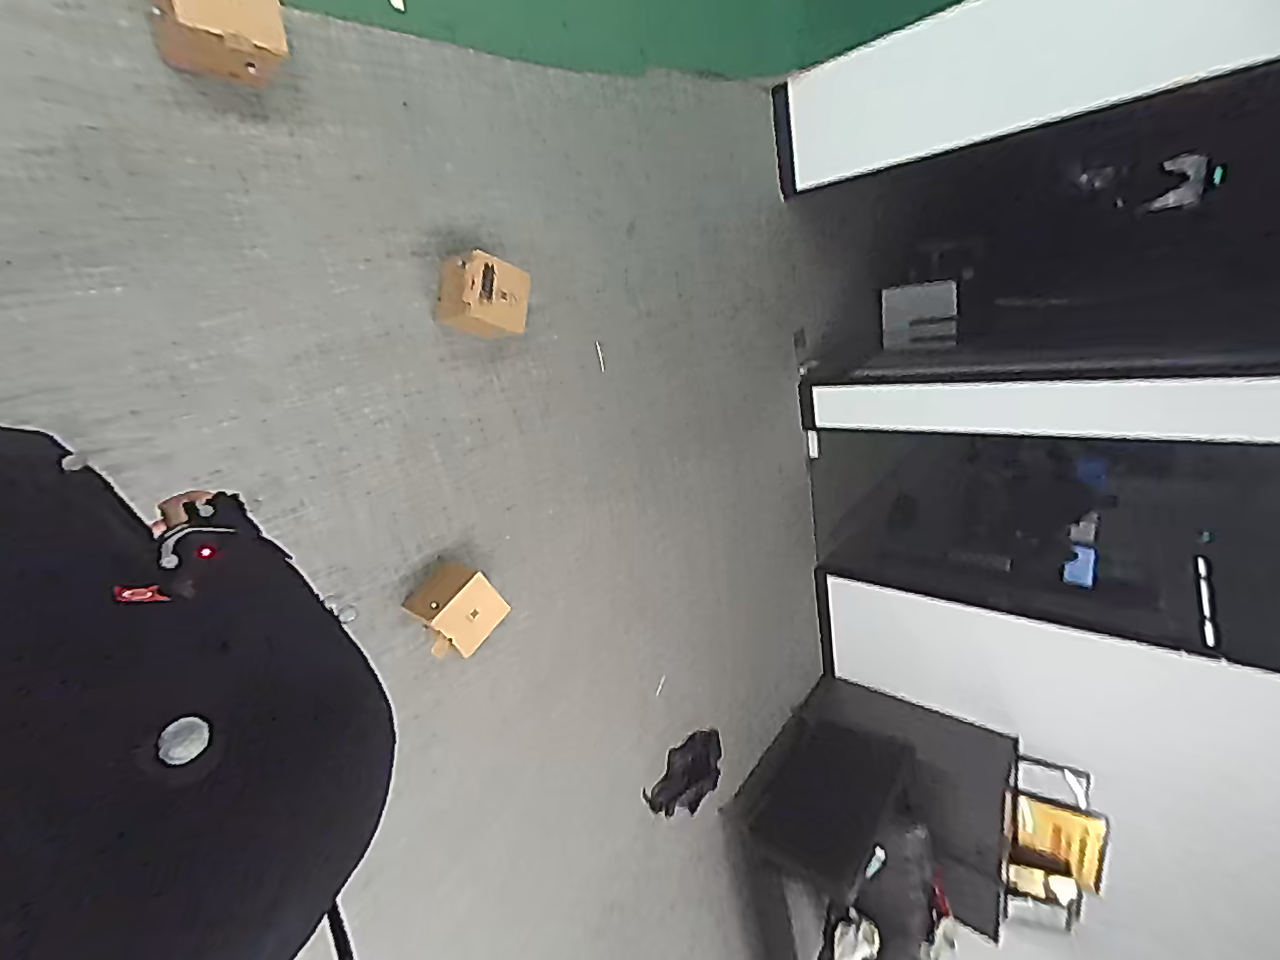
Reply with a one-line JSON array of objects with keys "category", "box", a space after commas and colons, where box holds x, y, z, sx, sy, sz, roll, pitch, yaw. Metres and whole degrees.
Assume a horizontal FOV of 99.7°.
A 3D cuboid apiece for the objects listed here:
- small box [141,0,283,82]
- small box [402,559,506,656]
[{"category": "small box", "box": [-0.786, -0.867, 0.983, 0.168, 0.176, 0.179, -21, 111, -47]}, {"category": "small box", "box": [-0.511, 0.342, 1.485, 0.179, 0.176, 0.168, -50, 130, -30]}]
